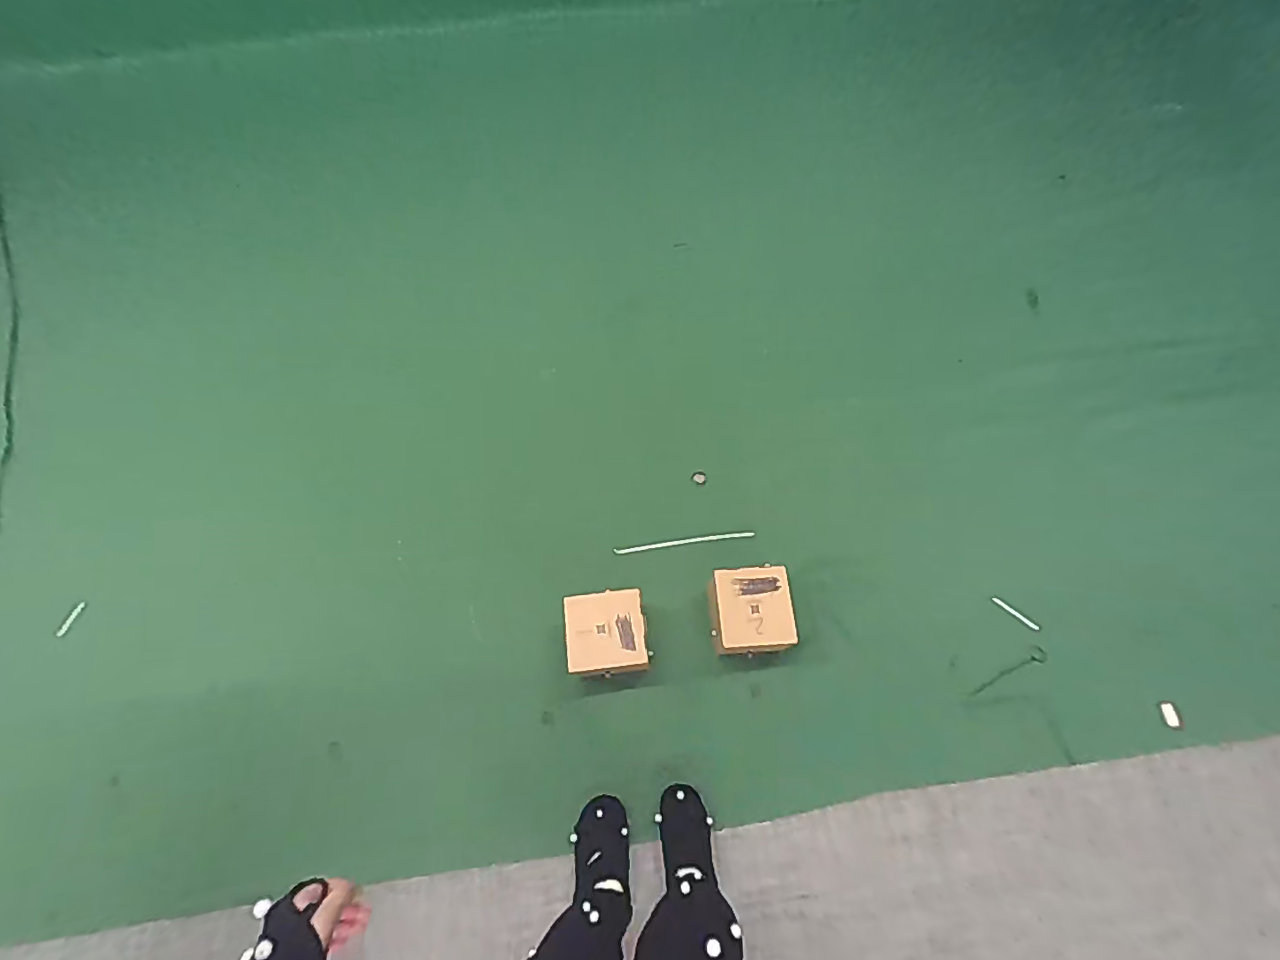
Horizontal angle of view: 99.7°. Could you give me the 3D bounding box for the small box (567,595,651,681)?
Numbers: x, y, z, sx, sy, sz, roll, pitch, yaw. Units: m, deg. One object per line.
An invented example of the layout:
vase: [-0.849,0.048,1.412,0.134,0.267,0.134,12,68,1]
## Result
small box: [-0.069,0.374,1.269,0.179,0.176,0.168,-7,66,0]
